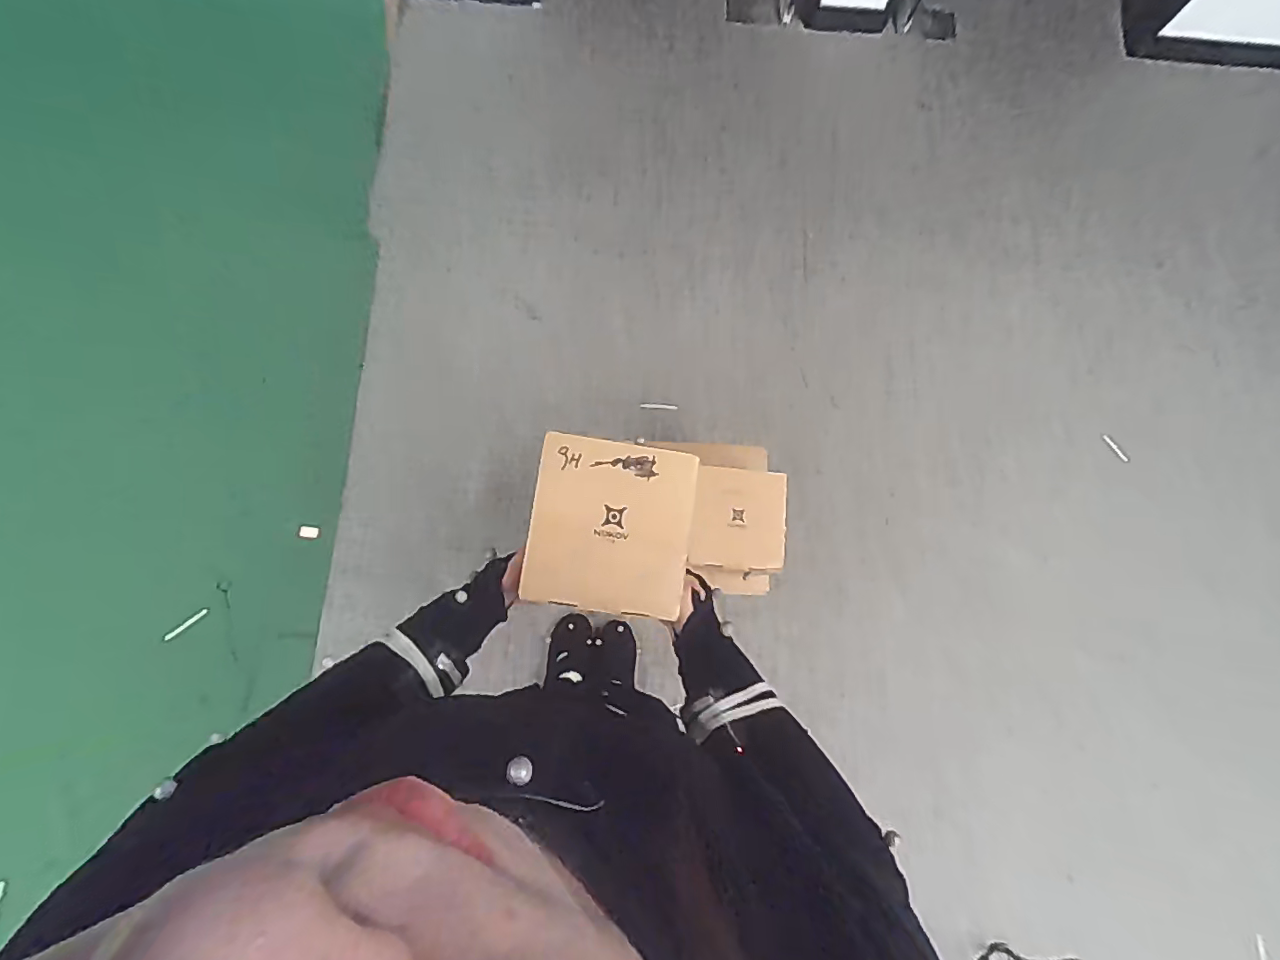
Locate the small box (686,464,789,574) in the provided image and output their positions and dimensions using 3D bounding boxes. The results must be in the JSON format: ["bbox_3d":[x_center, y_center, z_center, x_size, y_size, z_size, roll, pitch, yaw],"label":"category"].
[{"bbox_3d":[0.169,0.079,1.005,0.168,0.176,0.179,6,78,-1],"label":"small box"}]

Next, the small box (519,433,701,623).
[{"bbox_3d":[-0.035,0.056,0.629,0.168,0.176,0.179,9,84,-5],"label":"small box"}]
